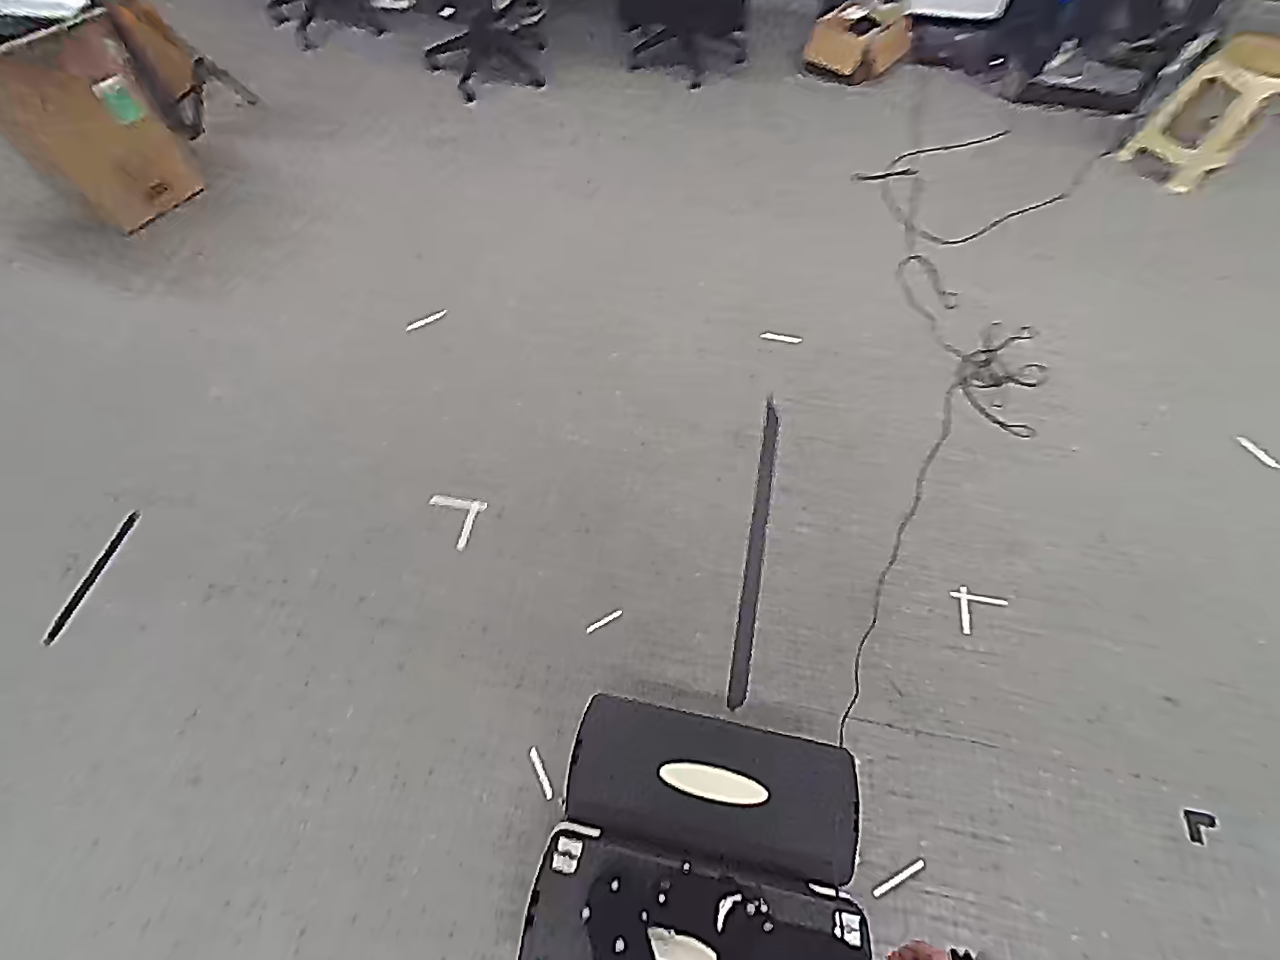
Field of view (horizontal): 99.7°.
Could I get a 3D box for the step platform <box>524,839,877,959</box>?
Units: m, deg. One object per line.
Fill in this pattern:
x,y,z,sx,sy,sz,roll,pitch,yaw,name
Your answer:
0.115,0.975,1.072,0.684,0.204,0.286,13,60,9,step platform
